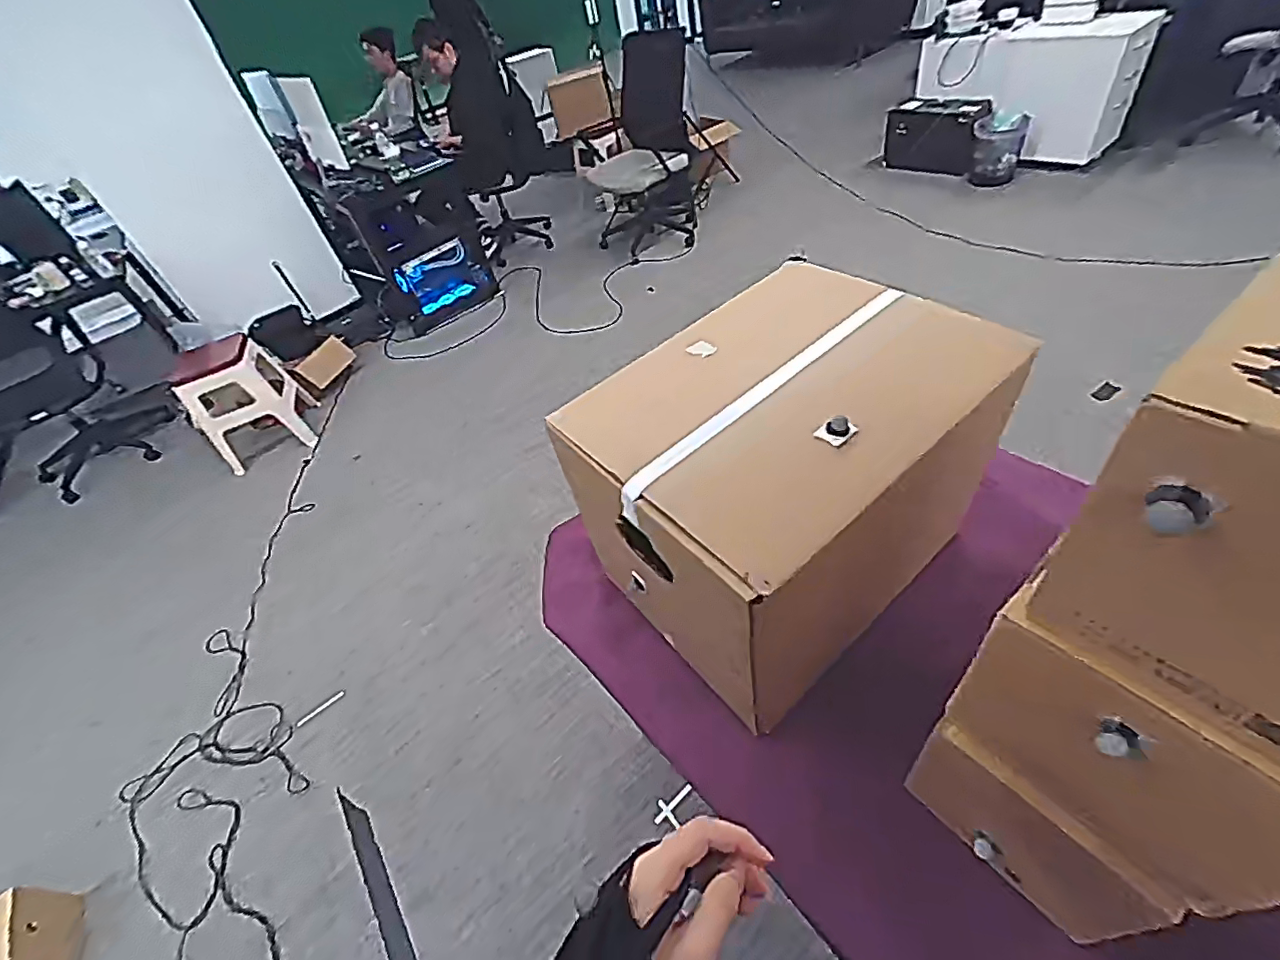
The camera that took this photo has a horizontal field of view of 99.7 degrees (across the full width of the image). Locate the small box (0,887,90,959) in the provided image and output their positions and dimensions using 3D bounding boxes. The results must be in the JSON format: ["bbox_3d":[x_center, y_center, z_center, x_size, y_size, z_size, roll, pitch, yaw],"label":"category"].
[{"bbox_3d":[-1.401,1.069,1.217,0.168,0.176,0.179,-37,48,-20],"label":"small box"}]
